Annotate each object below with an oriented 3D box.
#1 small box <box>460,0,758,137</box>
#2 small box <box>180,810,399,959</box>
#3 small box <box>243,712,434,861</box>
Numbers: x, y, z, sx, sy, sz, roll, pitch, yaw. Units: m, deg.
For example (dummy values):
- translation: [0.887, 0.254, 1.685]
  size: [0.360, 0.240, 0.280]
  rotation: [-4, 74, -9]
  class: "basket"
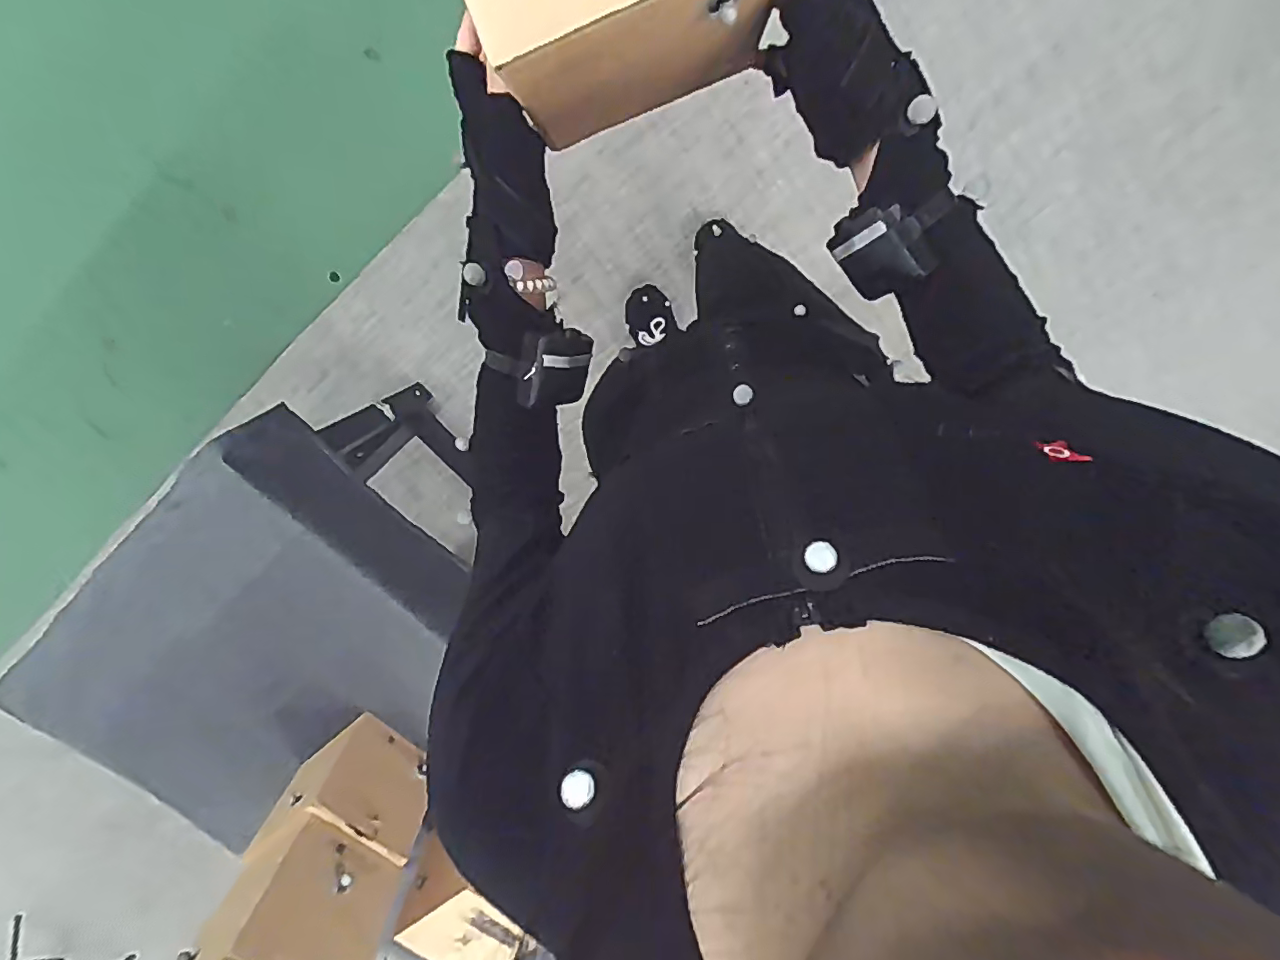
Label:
- translation: [-0.026, -0.347, 0.330]
  size: [0.179, 0.176, 0.168]
  rotation: [-19, 106, 8]
  class: "small box"
- translation: [-0.451, 0.580, 0.699]
  size: [0.179, 0.176, 0.168]
  rotation: [-41, 106, 13]
  class: "small box"
- translation: [-0.451, 0.504, 0.845]
  size: [0.179, 0.176, 0.168]
  rotation: [-40, 106, 14]
  class: "small box"
